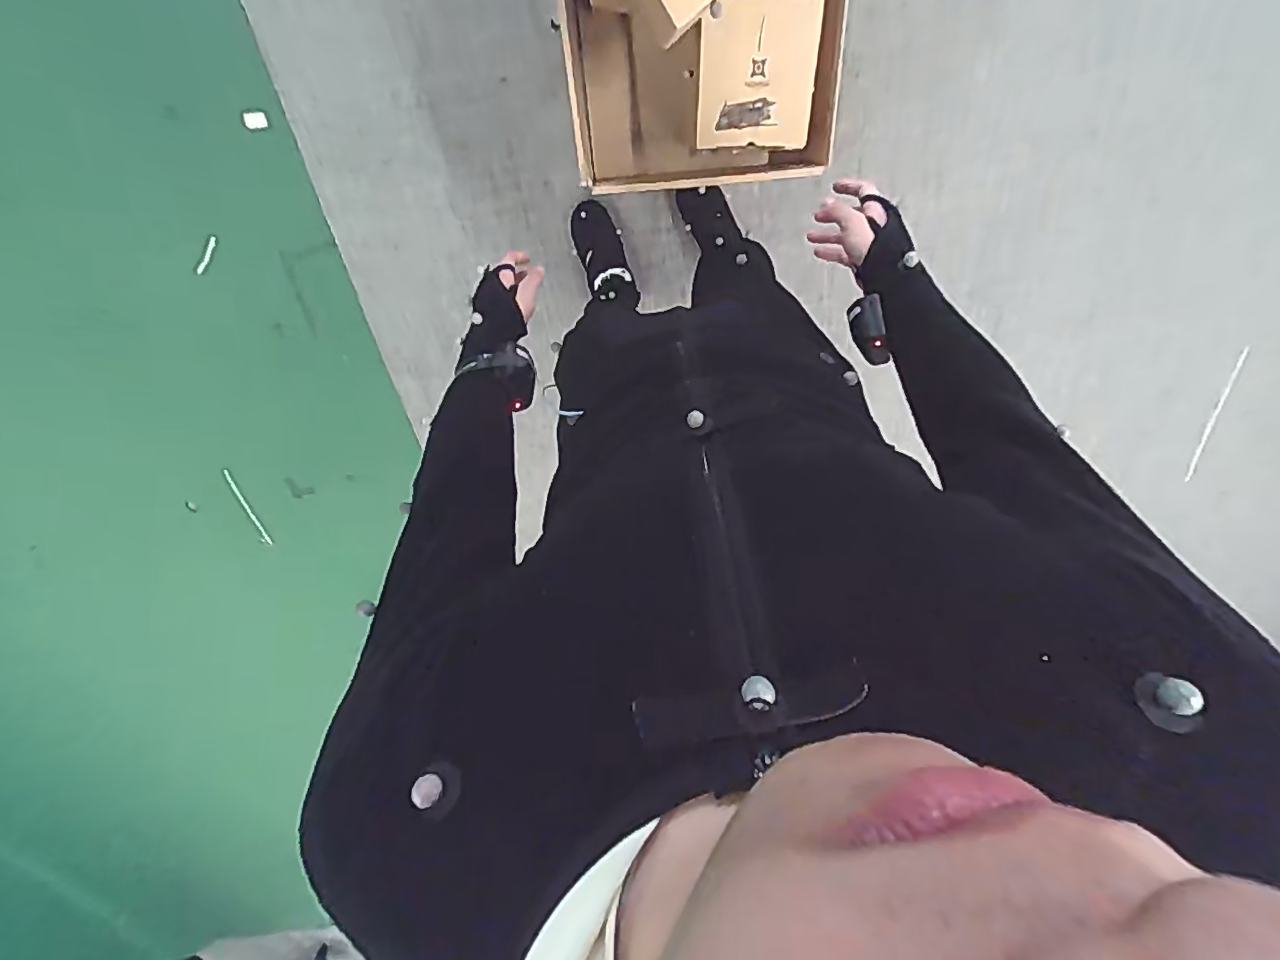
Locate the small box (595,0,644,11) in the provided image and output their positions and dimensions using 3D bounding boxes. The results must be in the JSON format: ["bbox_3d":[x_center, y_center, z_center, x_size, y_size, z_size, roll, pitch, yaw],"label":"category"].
[{"bbox_3d":[0.011,-0.749,0.717,0.168,0.176,0.179,-4,123,0],"label":"small box"}]

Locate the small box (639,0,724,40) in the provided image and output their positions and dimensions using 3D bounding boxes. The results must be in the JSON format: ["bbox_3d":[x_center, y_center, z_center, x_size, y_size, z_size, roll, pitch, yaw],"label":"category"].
[{"bbox_3d":[0.055,-0.634,0.599,0.168,0.176,0.179,-33,117,18],"label":"small box"}]
